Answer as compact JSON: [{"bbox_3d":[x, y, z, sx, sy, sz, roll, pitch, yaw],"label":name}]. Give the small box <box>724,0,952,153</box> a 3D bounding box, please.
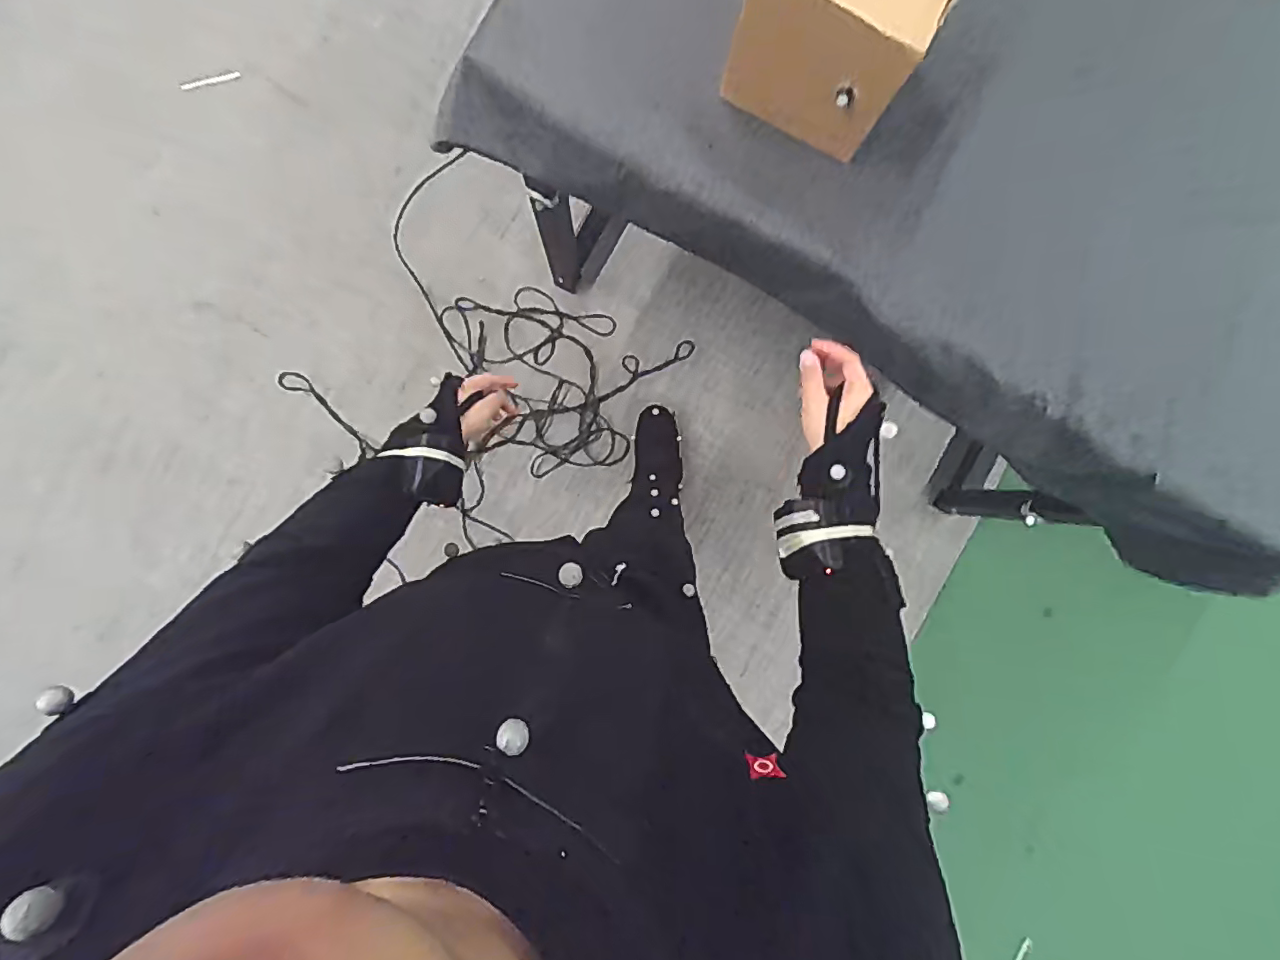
[{"bbox_3d":[0.211,-0.490,0.570,0.179,0.176,0.168,26,87,-2],"label":"small box"}]
